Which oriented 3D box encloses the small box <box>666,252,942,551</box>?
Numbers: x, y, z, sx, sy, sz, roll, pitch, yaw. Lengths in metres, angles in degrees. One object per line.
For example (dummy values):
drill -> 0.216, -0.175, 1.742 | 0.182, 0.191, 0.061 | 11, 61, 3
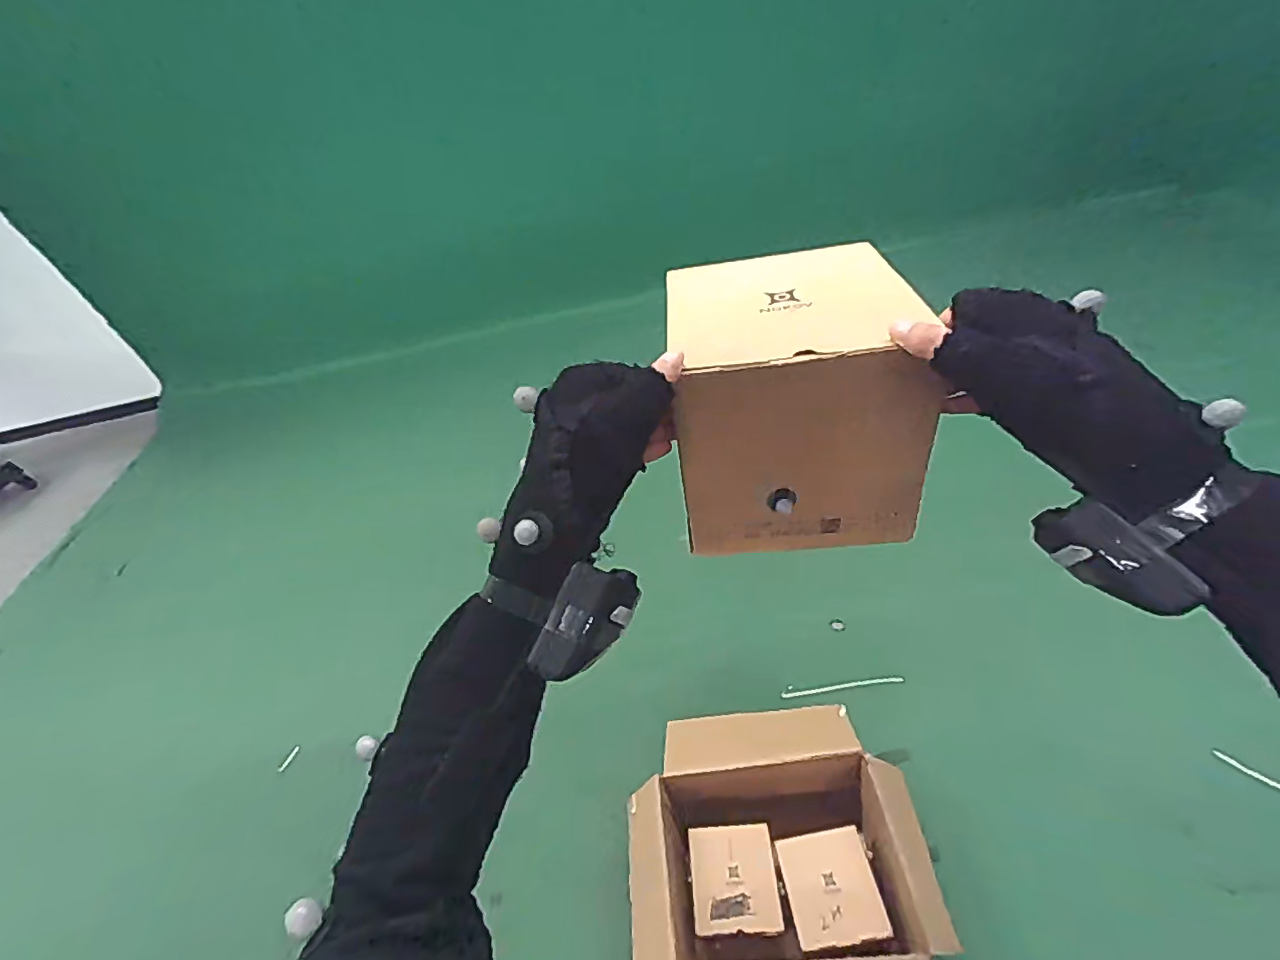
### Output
small box -> 0.111, -0.064, 0.438 | 0.168, 0.176, 0.179 | -5, 40, 7
